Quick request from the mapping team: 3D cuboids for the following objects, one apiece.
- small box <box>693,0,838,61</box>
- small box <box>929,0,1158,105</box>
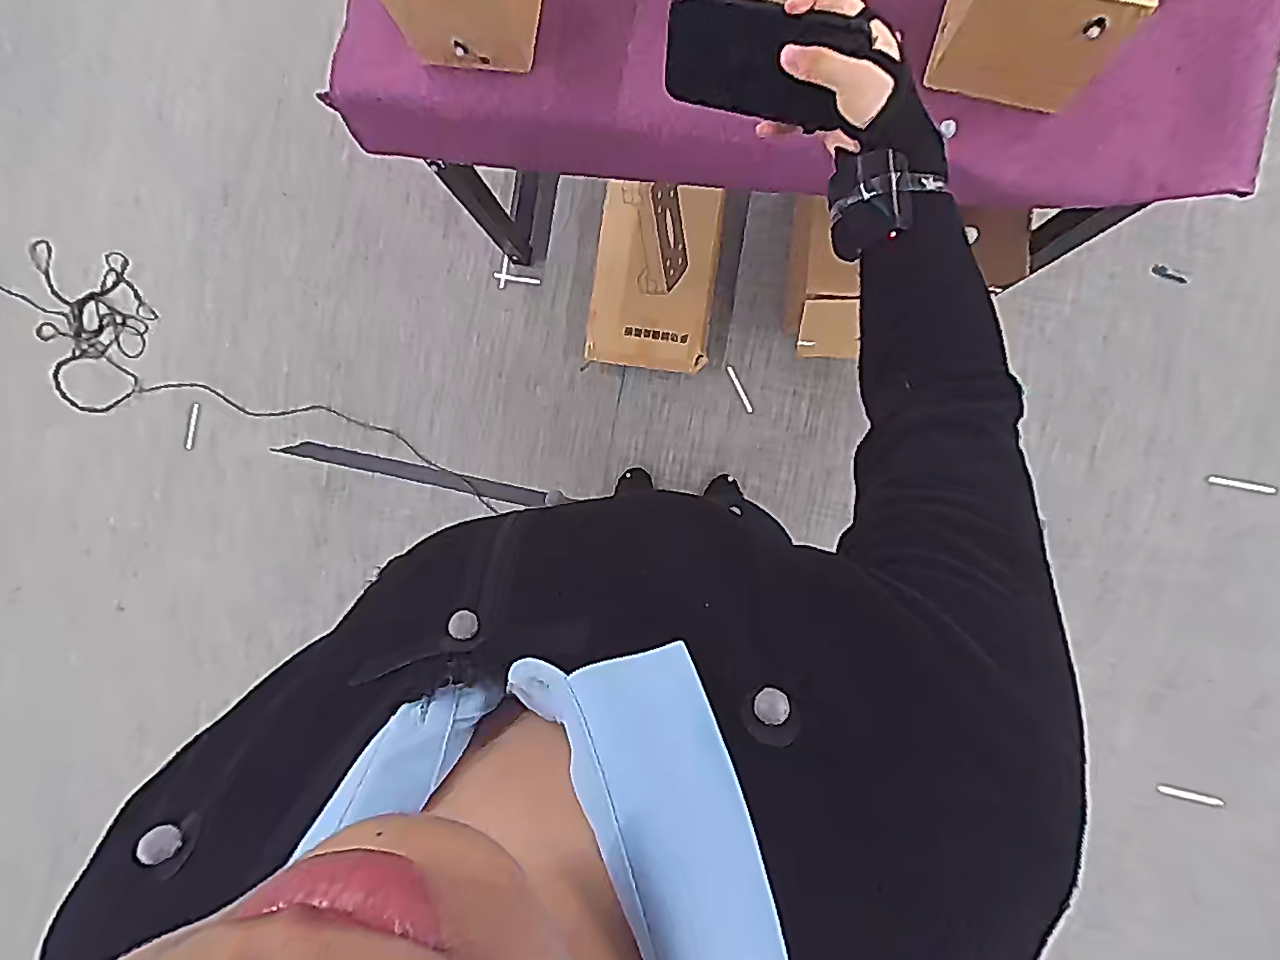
[{"bbox_3d":[0.164,-0.653,0.655,0.179,0.176,0.168,9,89,5],"label":"small box"},{"bbox_3d":[0.473,-0.581,0.629,0.179,0.176,0.168,16,92,5],"label":"small box"}]
